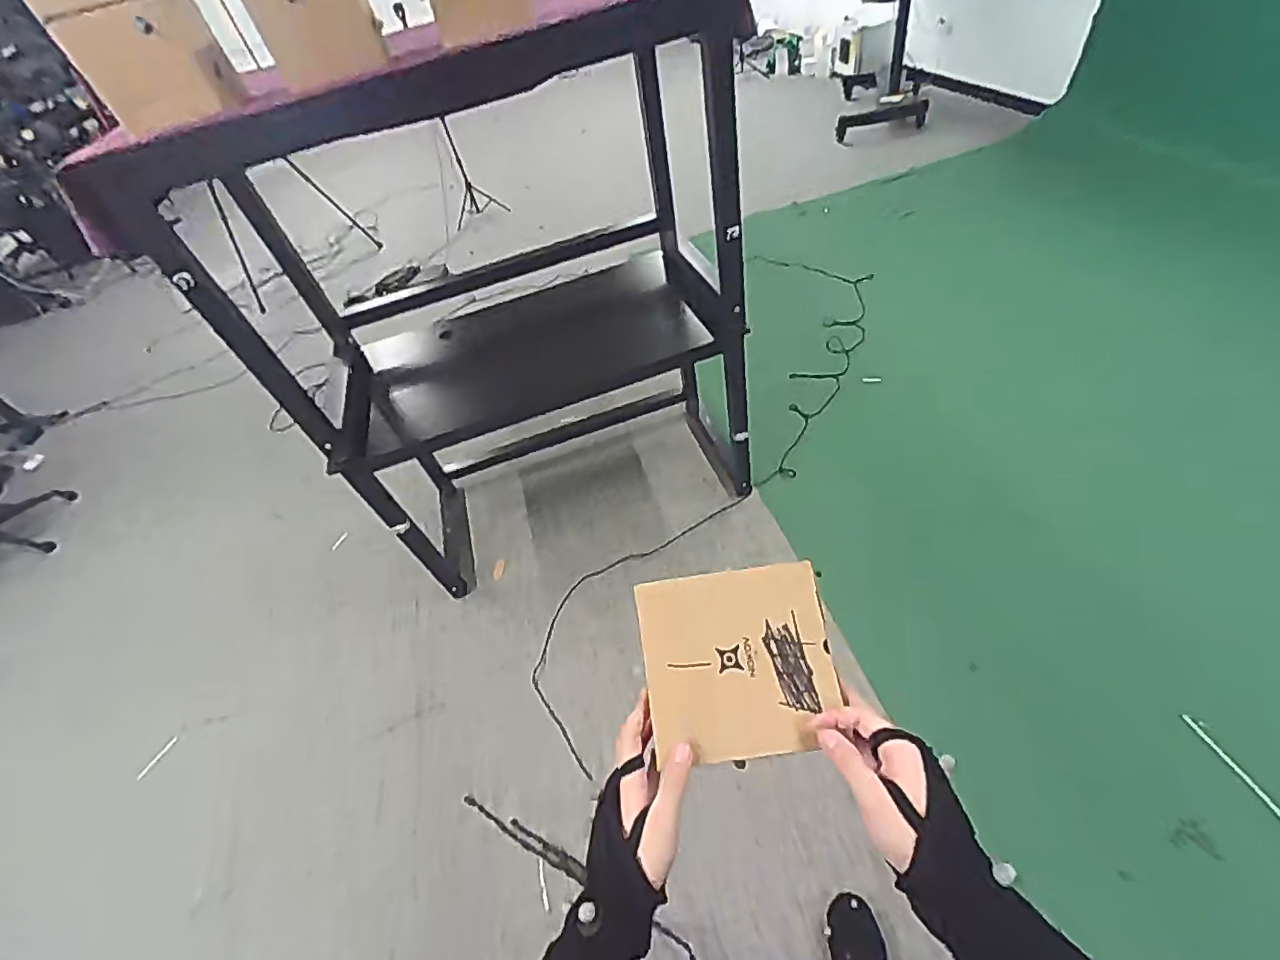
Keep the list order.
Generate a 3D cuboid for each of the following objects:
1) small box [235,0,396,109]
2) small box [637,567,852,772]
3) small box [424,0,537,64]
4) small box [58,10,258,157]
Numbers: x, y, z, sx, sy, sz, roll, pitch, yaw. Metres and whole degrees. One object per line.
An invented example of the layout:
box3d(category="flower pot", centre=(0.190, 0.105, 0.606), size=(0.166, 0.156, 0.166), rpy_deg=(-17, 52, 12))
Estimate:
box3d(category="small box", centre=(-0.574, -0.803, 0.981), size=(0.179, 0.176, 0.168), rpy_deg=(-18, 46, -1))
box3d(category="small box", centre=(0.096, 0.198, 0.574), size=(0.179, 0.176, 0.168), rpy_deg=(-9, 68, 1))
box3d(category="small box", centre=(-0.306, -0.898, 0.994), size=(0.179, 0.176, 0.168), rpy_deg=(-18, 47, 0))
box3d(category="small box", centre=(-0.837, -0.702, 0.963), size=(0.179, 0.176, 0.168), rpy_deg=(-18, 46, -3))
